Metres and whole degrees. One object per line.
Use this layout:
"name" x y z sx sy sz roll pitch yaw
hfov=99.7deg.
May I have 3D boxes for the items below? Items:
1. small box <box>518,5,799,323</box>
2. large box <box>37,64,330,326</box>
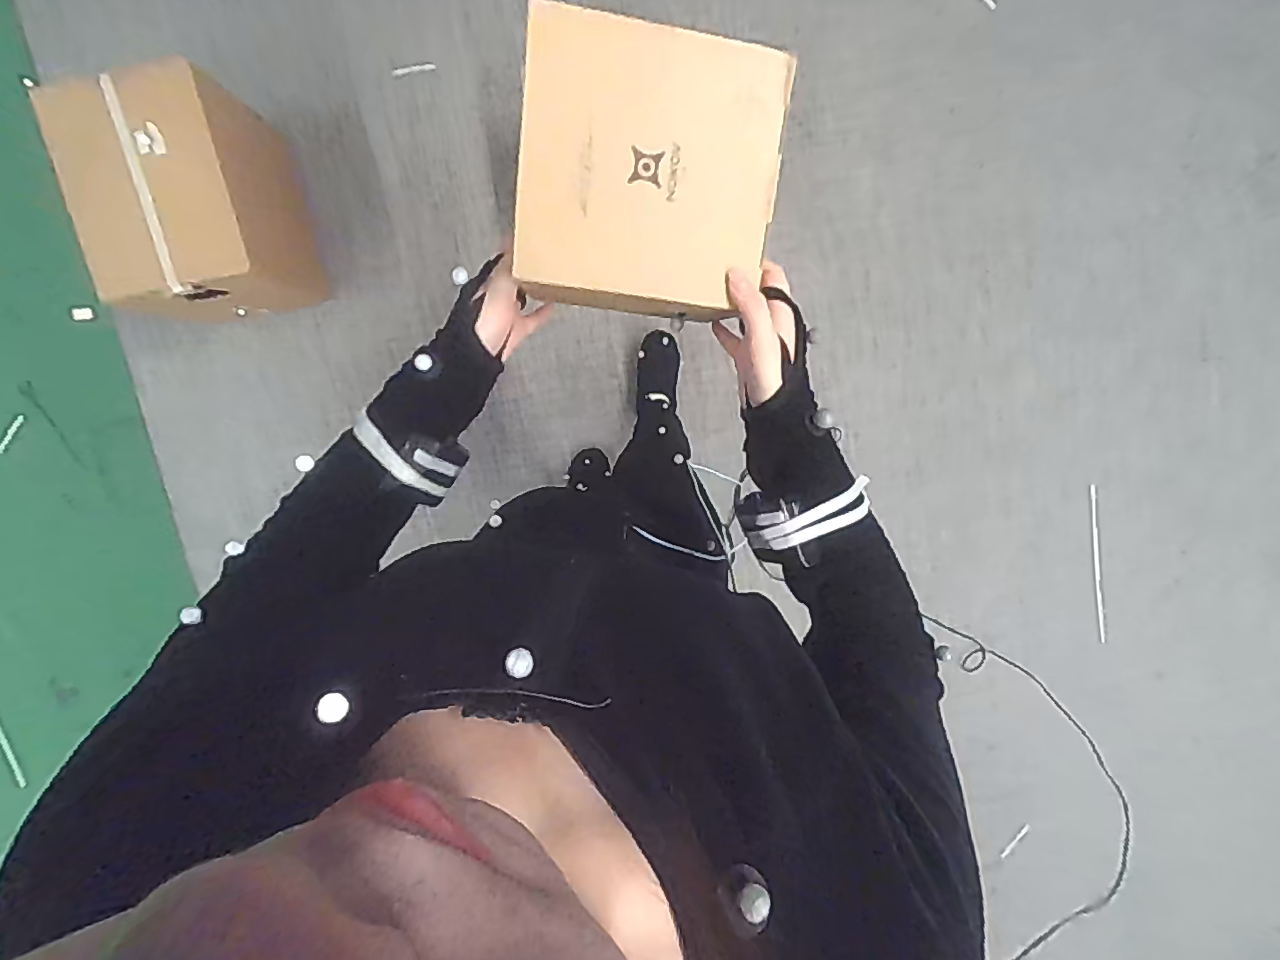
"small box" 0.002 -0.228 0.445 0.179 0.176 0.168 7 101 -8
"large box" -0.972 -0.595 1.209 0.320 0.320 0.408 -11 98 0
